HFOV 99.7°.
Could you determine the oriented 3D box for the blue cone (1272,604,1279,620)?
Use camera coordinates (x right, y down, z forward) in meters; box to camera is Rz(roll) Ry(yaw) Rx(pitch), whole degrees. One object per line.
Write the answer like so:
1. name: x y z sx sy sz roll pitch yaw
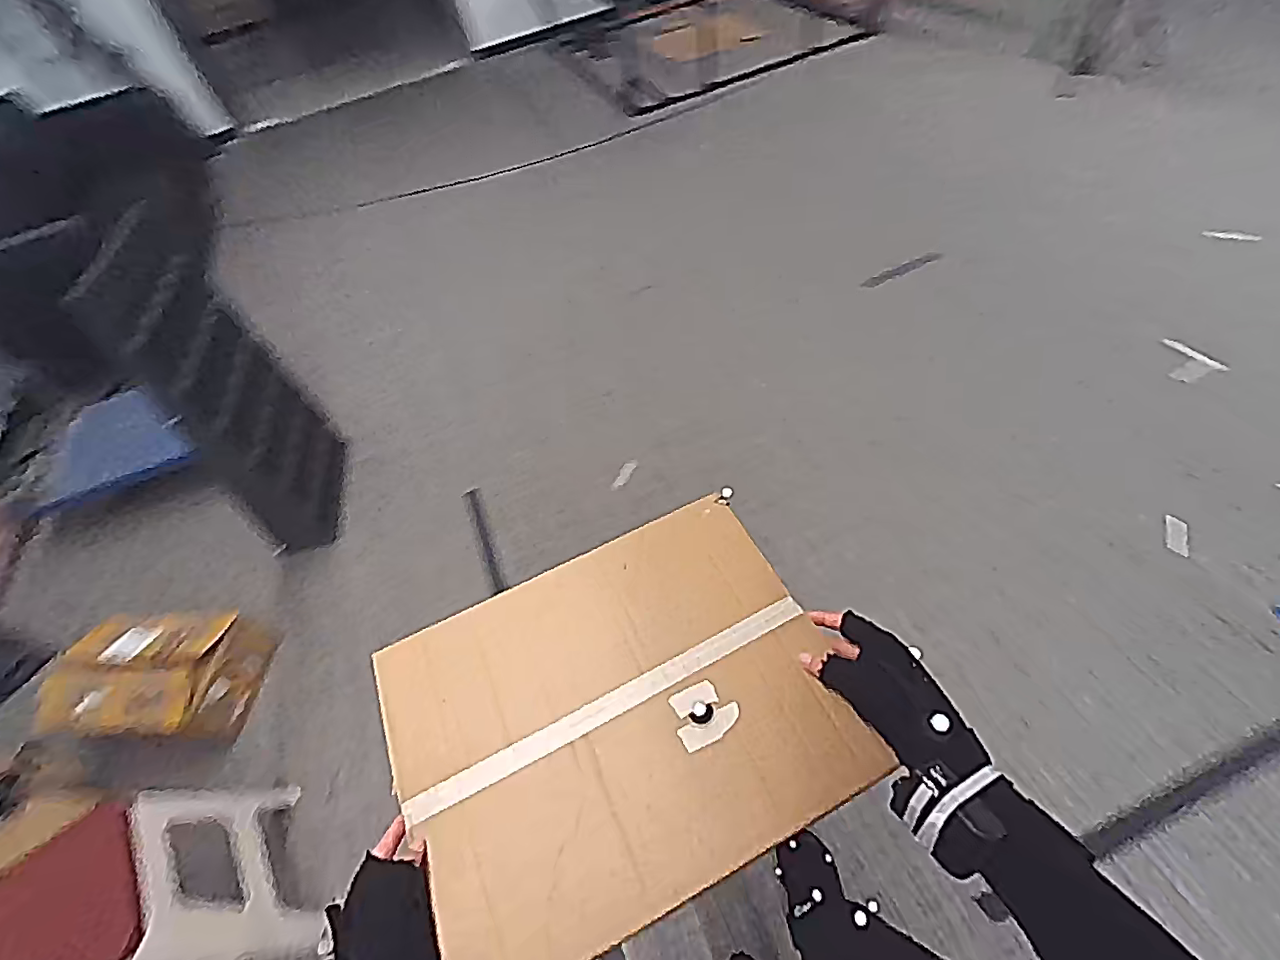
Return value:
1. blue cone: 1.623 0.269 1.143 0.192 0.380 0.193 -8 52 6
